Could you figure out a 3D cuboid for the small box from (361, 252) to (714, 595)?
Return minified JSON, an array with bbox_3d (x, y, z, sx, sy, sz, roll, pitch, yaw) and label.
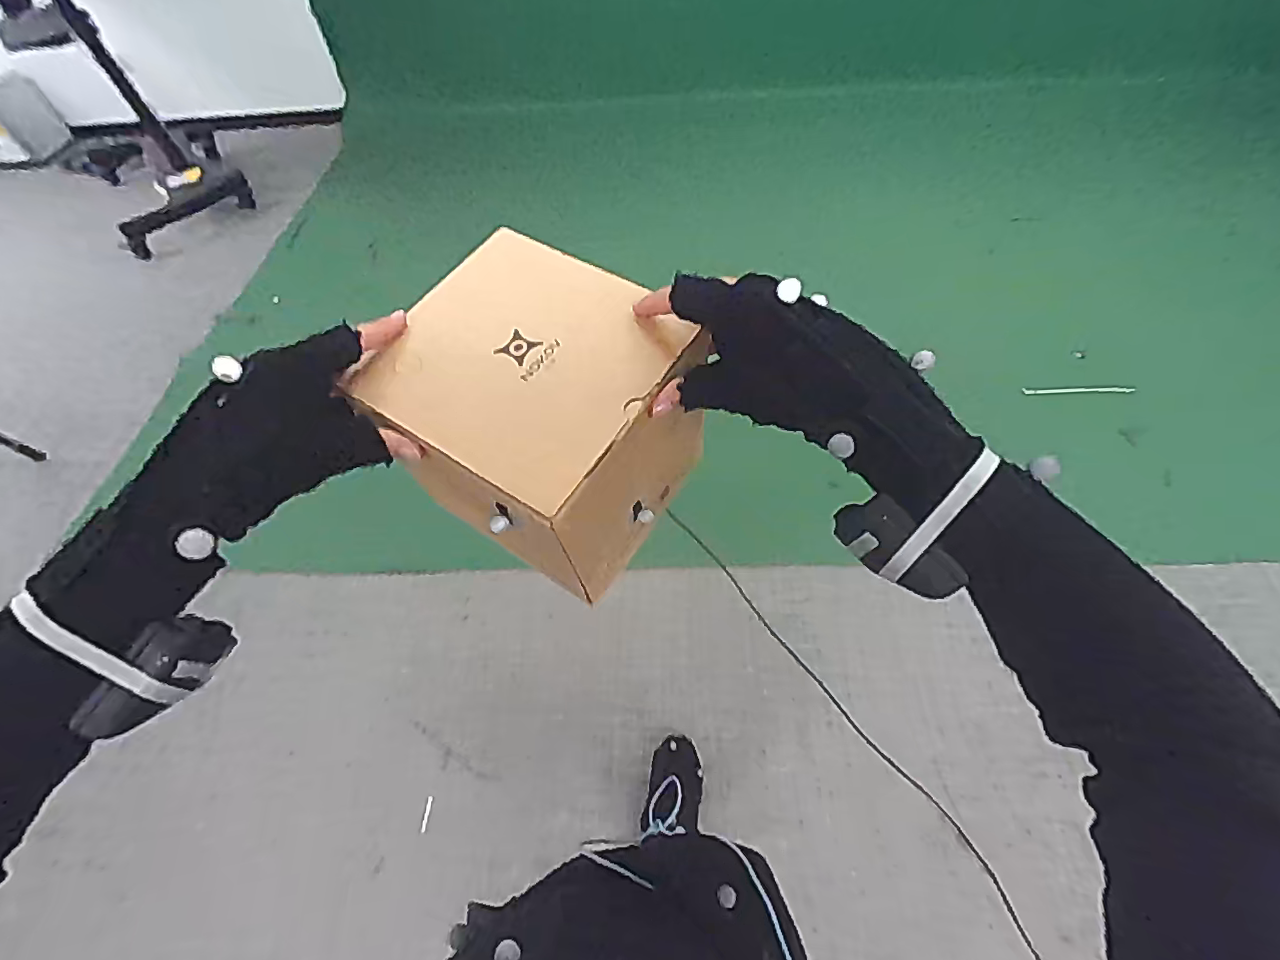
[{"bbox_3d":[-0.063,-0.035,0.421,0.179,0.176,0.168,30,67,17],"label":"small box"}]
